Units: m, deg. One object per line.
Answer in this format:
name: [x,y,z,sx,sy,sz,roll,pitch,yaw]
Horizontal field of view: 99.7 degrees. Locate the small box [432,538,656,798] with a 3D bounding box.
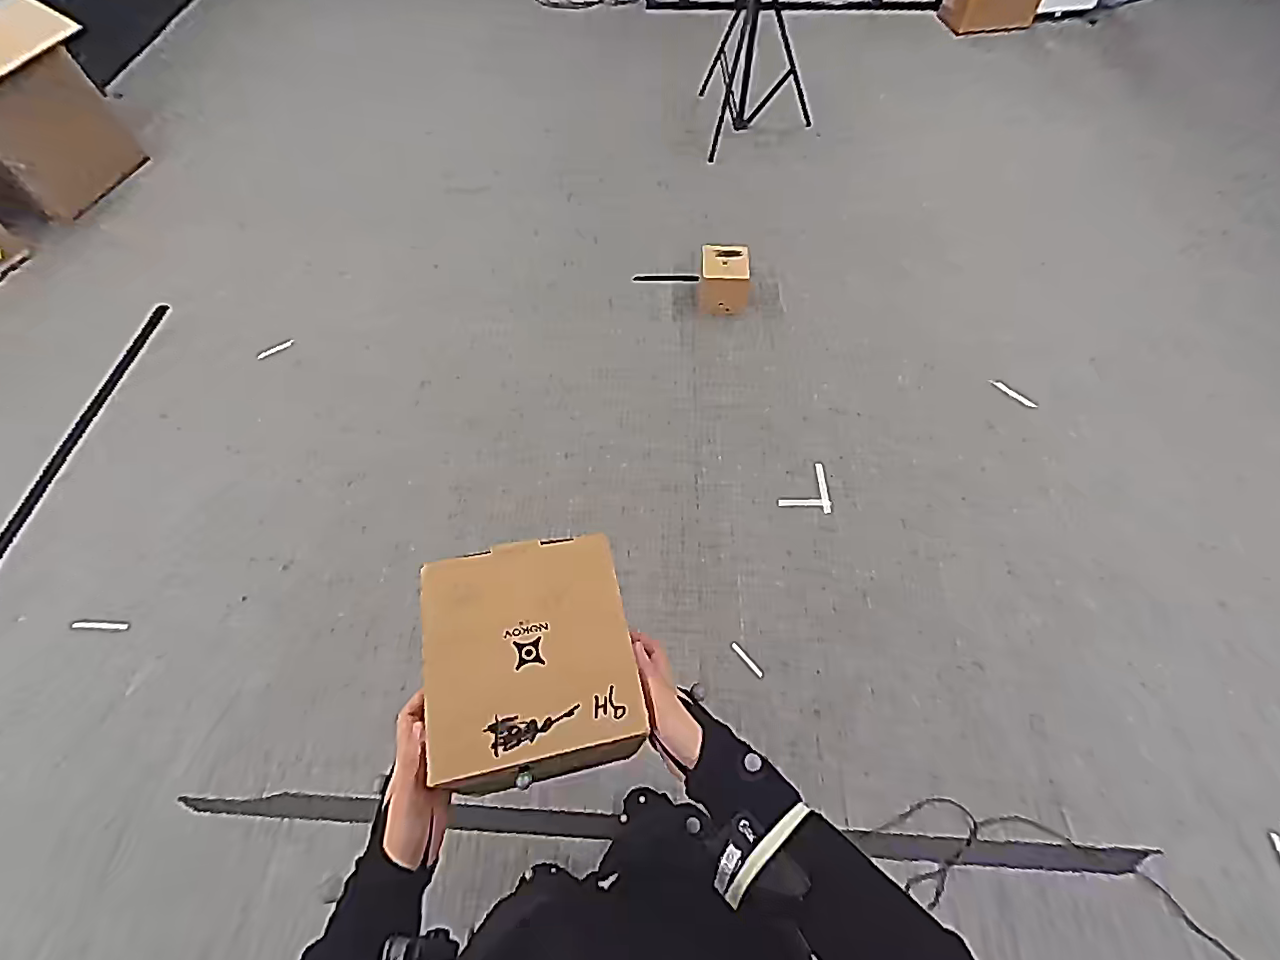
small box: [-0.092,0.178,0.505,0.168,0.176,0.179,-8,58,-11]
